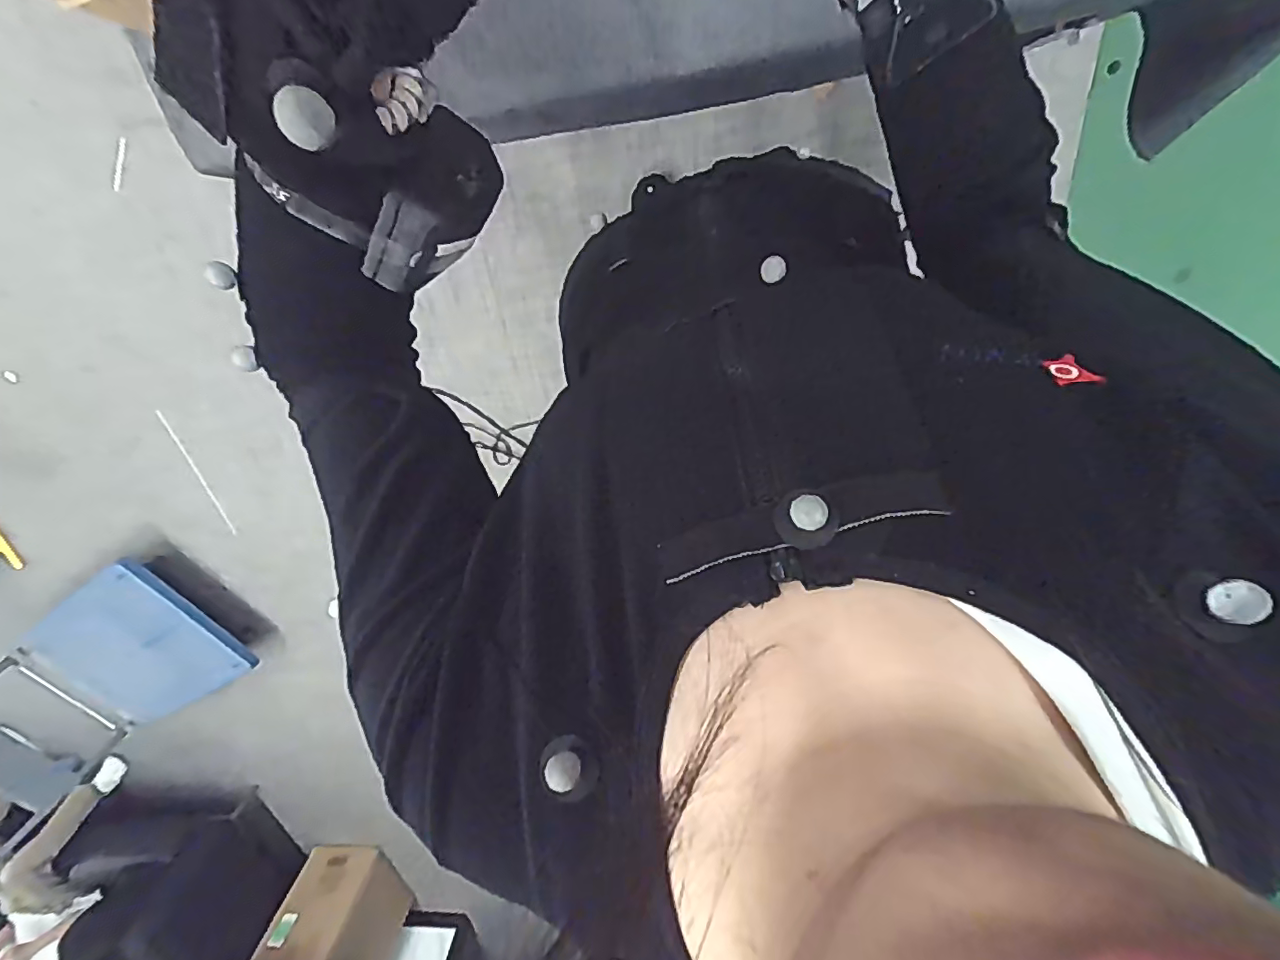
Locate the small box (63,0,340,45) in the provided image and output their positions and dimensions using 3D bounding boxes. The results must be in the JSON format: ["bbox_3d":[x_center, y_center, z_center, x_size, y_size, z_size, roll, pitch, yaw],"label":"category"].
[{"bbox_3d":[-0.403,-0.511,0.459,0.168,0.176,0.179,-7,118,10],"label":"small box"}]
